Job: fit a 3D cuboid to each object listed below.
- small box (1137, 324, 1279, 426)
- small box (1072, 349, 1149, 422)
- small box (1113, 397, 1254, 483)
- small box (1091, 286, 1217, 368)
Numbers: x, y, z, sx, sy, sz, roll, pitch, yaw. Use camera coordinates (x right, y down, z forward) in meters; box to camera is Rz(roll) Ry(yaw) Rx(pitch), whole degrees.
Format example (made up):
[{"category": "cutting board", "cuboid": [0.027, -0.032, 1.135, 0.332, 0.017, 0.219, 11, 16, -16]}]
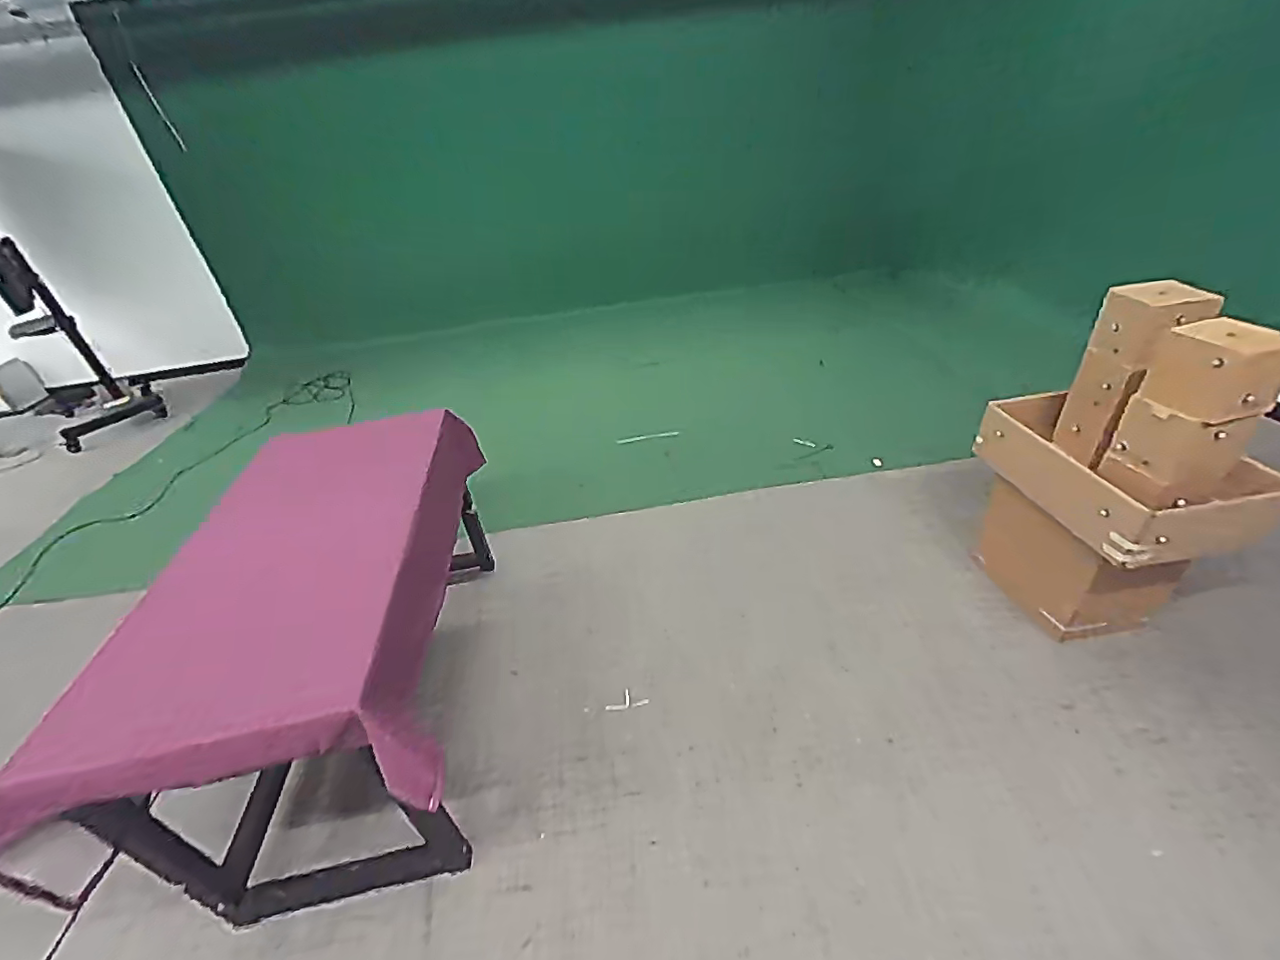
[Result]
[{"category": "small box", "cuboid": [1.323, -0.243, 1.252, 0.168, 0.176, 0.179, -12, 35, -7]}, {"category": "small box", "cuboid": [1.417, -0.282, 1.586, 0.179, 0.176, 0.168, -7, 35, 0]}, {"category": "small box", "cuboid": [1.332, -0.108, 1.341, 0.179, 0.176, 0.168, -10, 34, -4]}, {"category": "small box", "cuboid": [1.404, -0.420, 1.497, 0.179, 0.176, 0.168, -7, 36, 2]}]
